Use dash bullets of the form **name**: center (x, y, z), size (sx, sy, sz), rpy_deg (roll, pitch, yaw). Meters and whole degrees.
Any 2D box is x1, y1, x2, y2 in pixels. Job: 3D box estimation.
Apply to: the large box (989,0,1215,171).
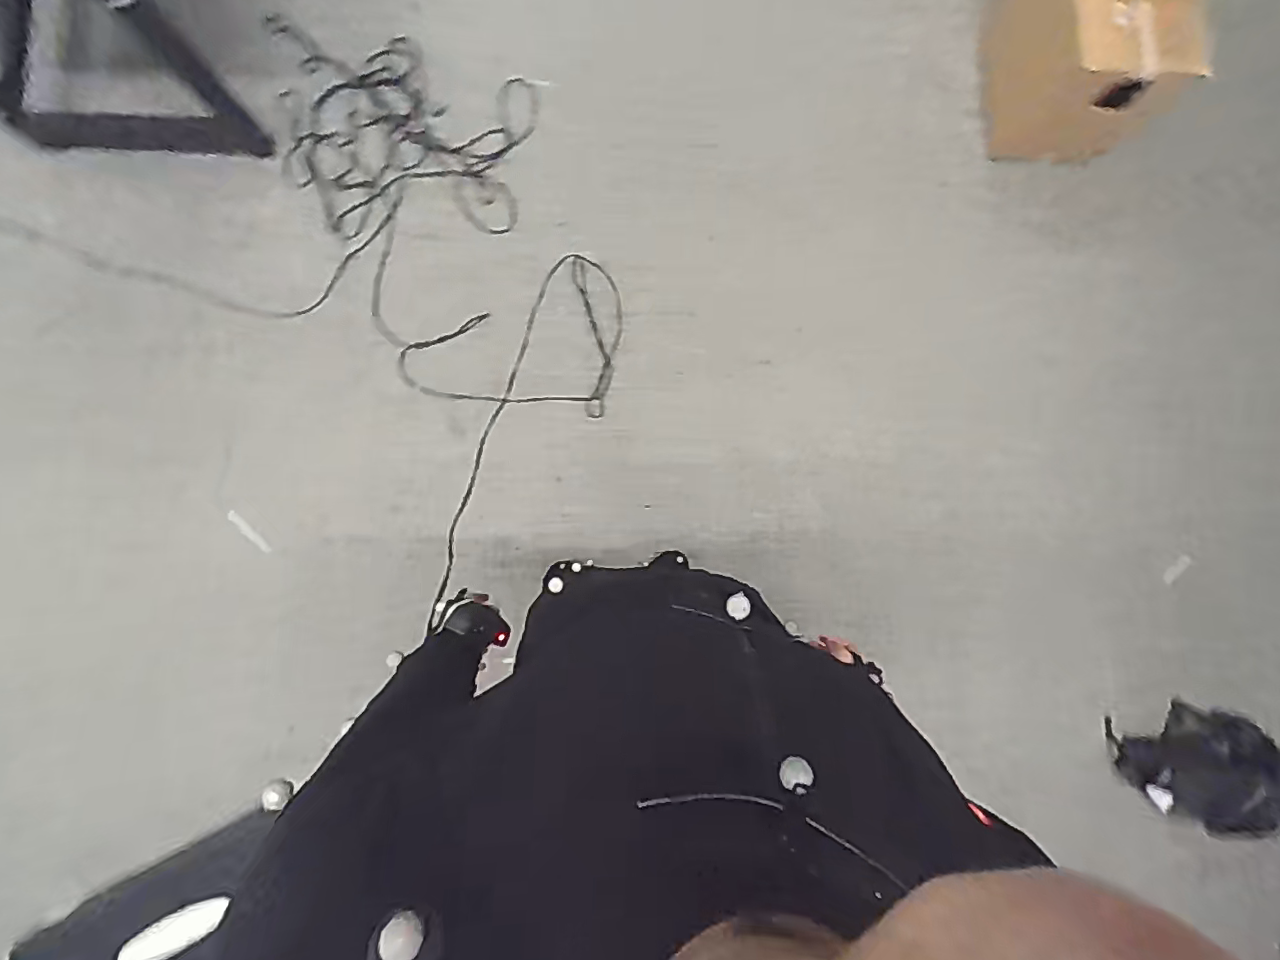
- **large box**: center (1.153, -1.083, 1.385), size (0.320, 0.320, 0.408), rpy_deg (0, 86, -2)
